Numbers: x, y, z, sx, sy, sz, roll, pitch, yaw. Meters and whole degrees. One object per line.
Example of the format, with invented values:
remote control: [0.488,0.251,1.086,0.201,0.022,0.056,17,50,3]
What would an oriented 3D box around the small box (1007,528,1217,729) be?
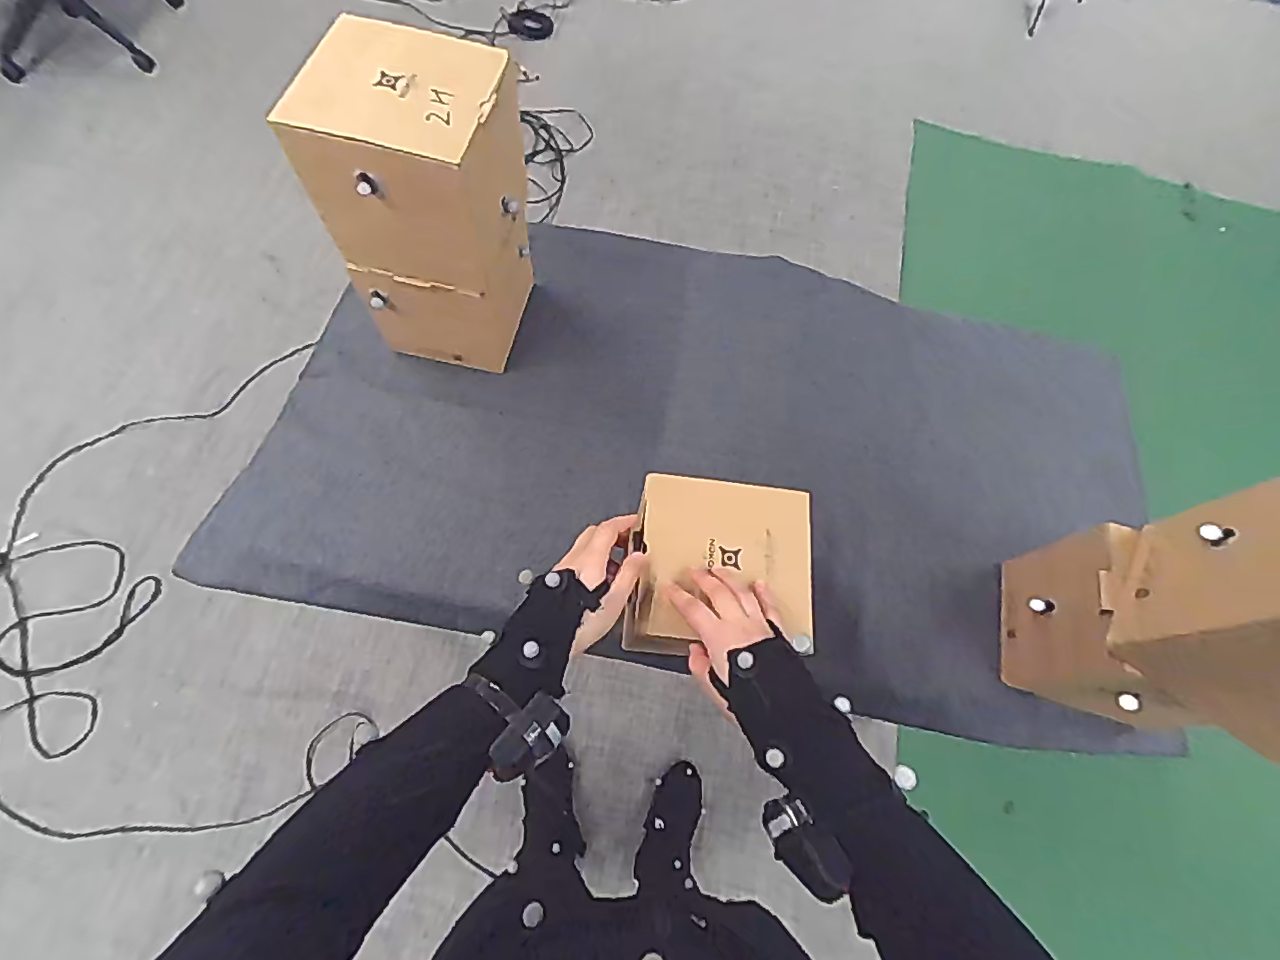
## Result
small box: [0.560,0.180,0.624,0.179,0.176,0.168,18,65,3]

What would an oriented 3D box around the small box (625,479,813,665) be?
small box: [0.079,0.113,0.609,0.179,0.176,0.168,7,69,-2]

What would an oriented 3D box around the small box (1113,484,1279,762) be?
small box: [0.576,0.128,0.470,0.179,0.176,0.168,37,67,10]

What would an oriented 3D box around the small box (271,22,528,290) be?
small box: [-0.232,-0.331,0.578,0.179,0.176,0.168,13,68,-1]
